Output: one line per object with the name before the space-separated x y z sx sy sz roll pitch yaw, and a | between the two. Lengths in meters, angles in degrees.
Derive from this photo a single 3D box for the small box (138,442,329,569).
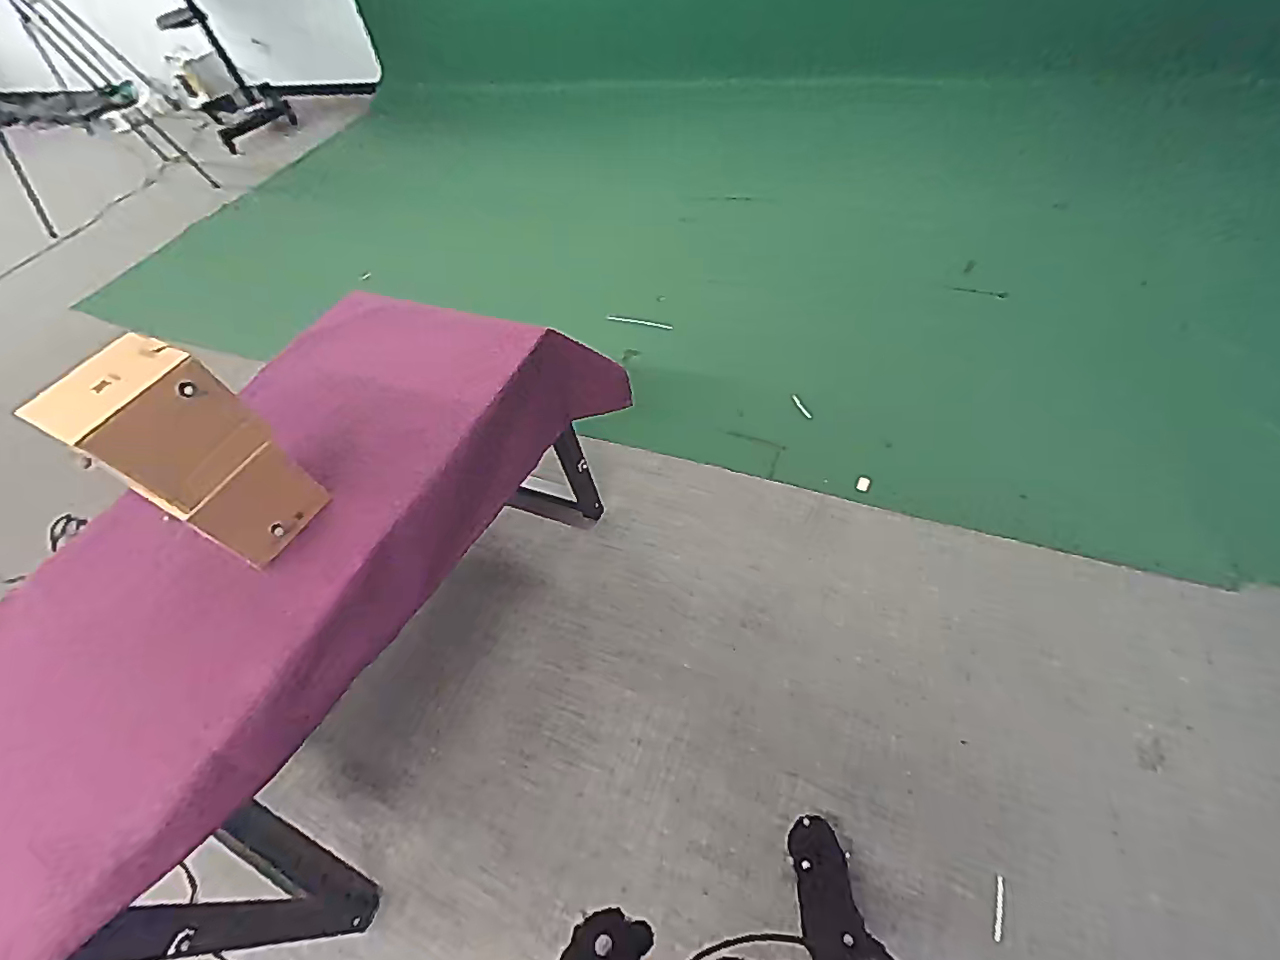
small box | -0.680 0.026 0.911 0.179 0.176 0.168 20 61 23

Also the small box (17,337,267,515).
small box | -0.704 -0.075 0.787 0.168 0.176 0.179 18 60 22
